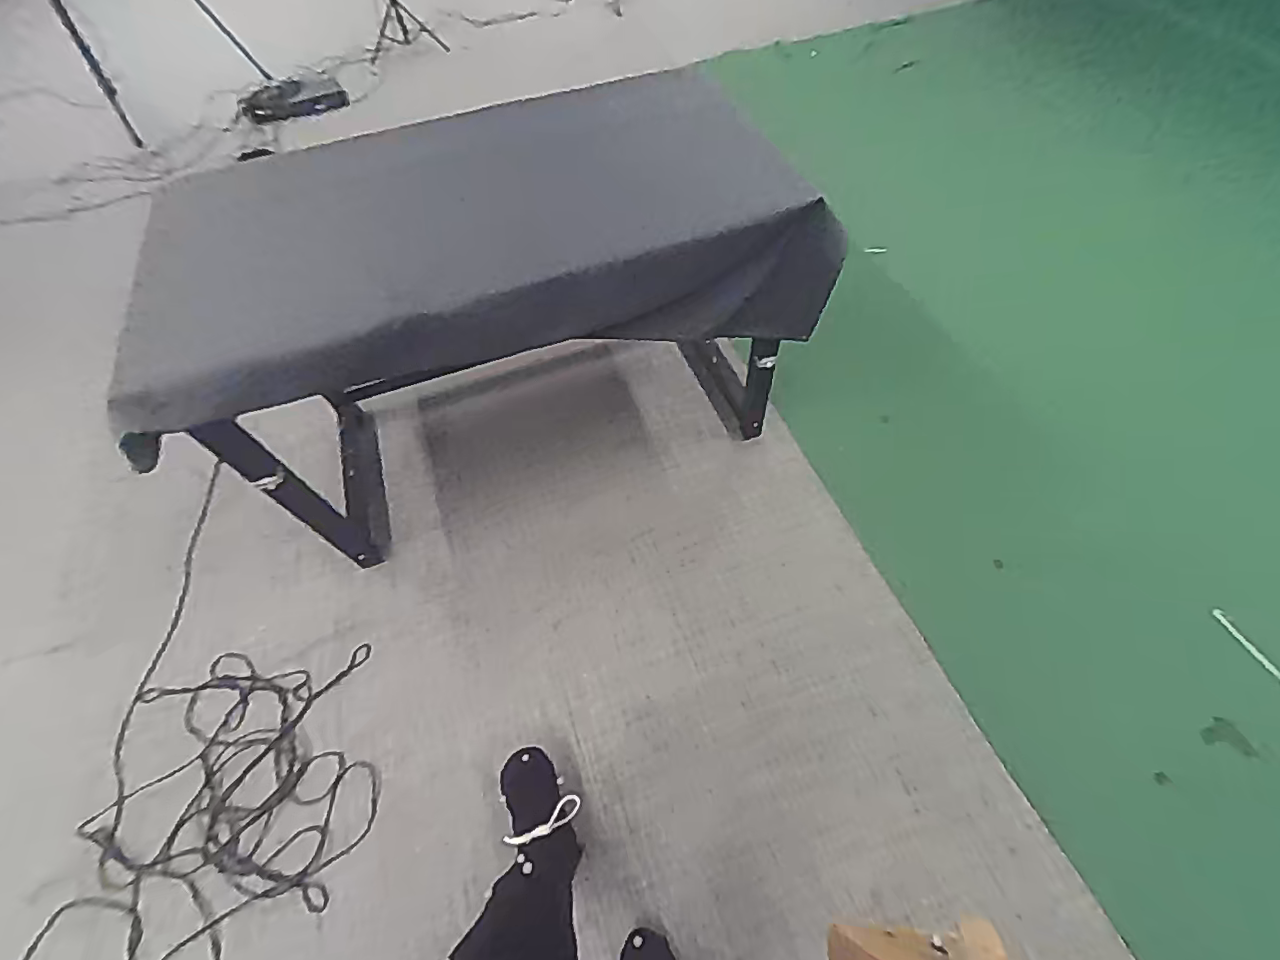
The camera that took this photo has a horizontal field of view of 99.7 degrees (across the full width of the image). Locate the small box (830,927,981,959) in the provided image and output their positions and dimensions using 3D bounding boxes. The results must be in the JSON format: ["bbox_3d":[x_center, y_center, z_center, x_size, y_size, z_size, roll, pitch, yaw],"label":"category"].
[{"bbox_3d":[0.294,0.564,0.507,0.168,0.176,0.179,13,64,-8],"label":"small box"}]
